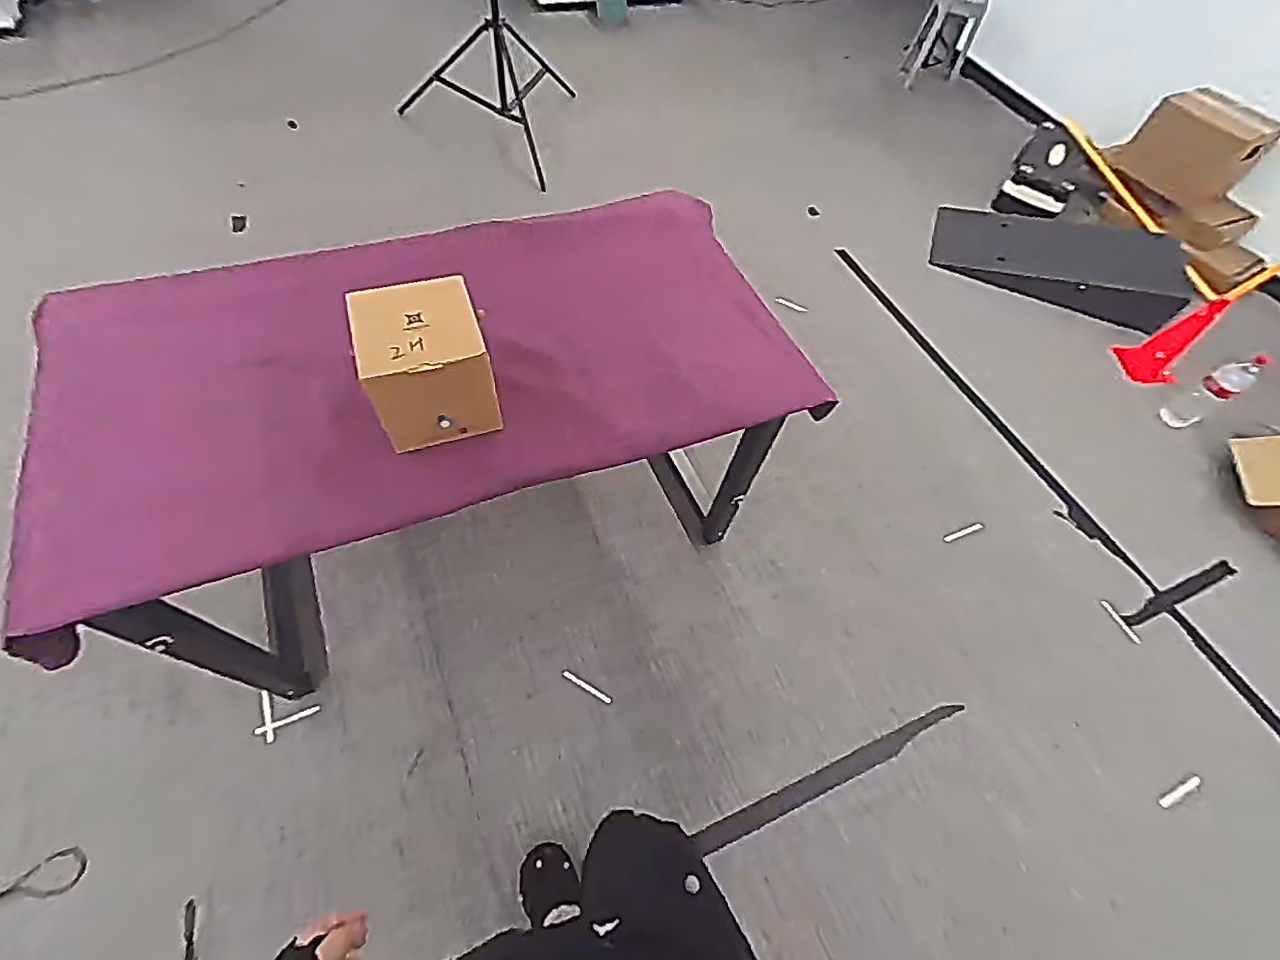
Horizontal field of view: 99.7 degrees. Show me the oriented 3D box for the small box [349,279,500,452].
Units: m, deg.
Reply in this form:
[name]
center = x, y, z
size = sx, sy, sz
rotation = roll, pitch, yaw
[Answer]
[small box]
center = -0.321, -0.172, 0.823
size = 0.168, 0.176, 0.179
rotation = -16, 61, -15
